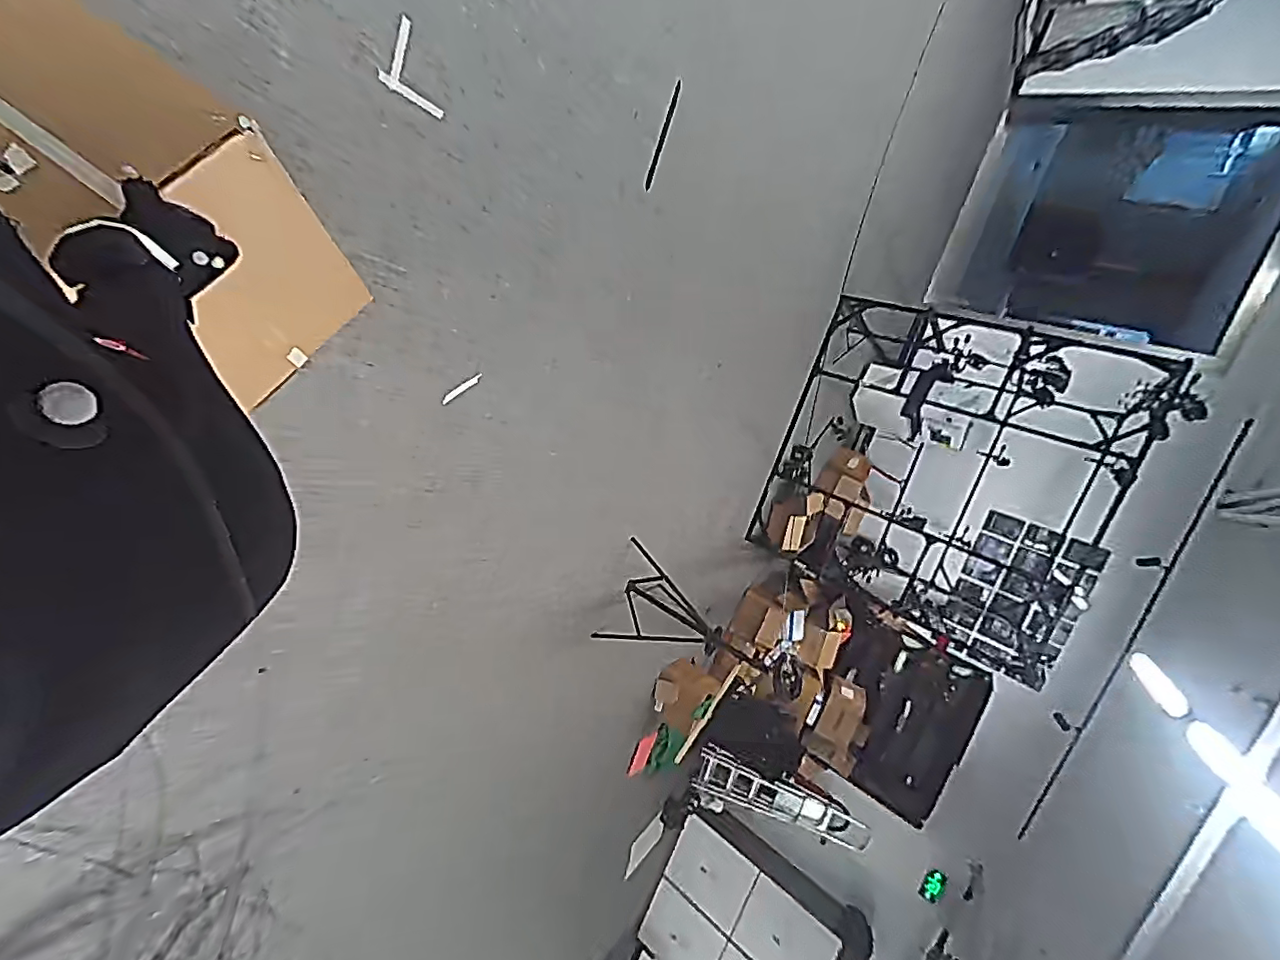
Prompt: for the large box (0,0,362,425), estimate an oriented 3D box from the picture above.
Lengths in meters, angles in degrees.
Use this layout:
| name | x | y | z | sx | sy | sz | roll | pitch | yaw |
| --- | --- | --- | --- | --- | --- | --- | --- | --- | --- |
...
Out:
| name | x | y | z | sx | sy | sz | roll | pitch | yaw |
| --- | --- | --- | --- | --- | --- | --- | --- | --- | --- |
| large box | -0.689 | -0.345 | 0.729 | 0.320 | 0.408 | 0.320 | -53 | 172 | -14 |
